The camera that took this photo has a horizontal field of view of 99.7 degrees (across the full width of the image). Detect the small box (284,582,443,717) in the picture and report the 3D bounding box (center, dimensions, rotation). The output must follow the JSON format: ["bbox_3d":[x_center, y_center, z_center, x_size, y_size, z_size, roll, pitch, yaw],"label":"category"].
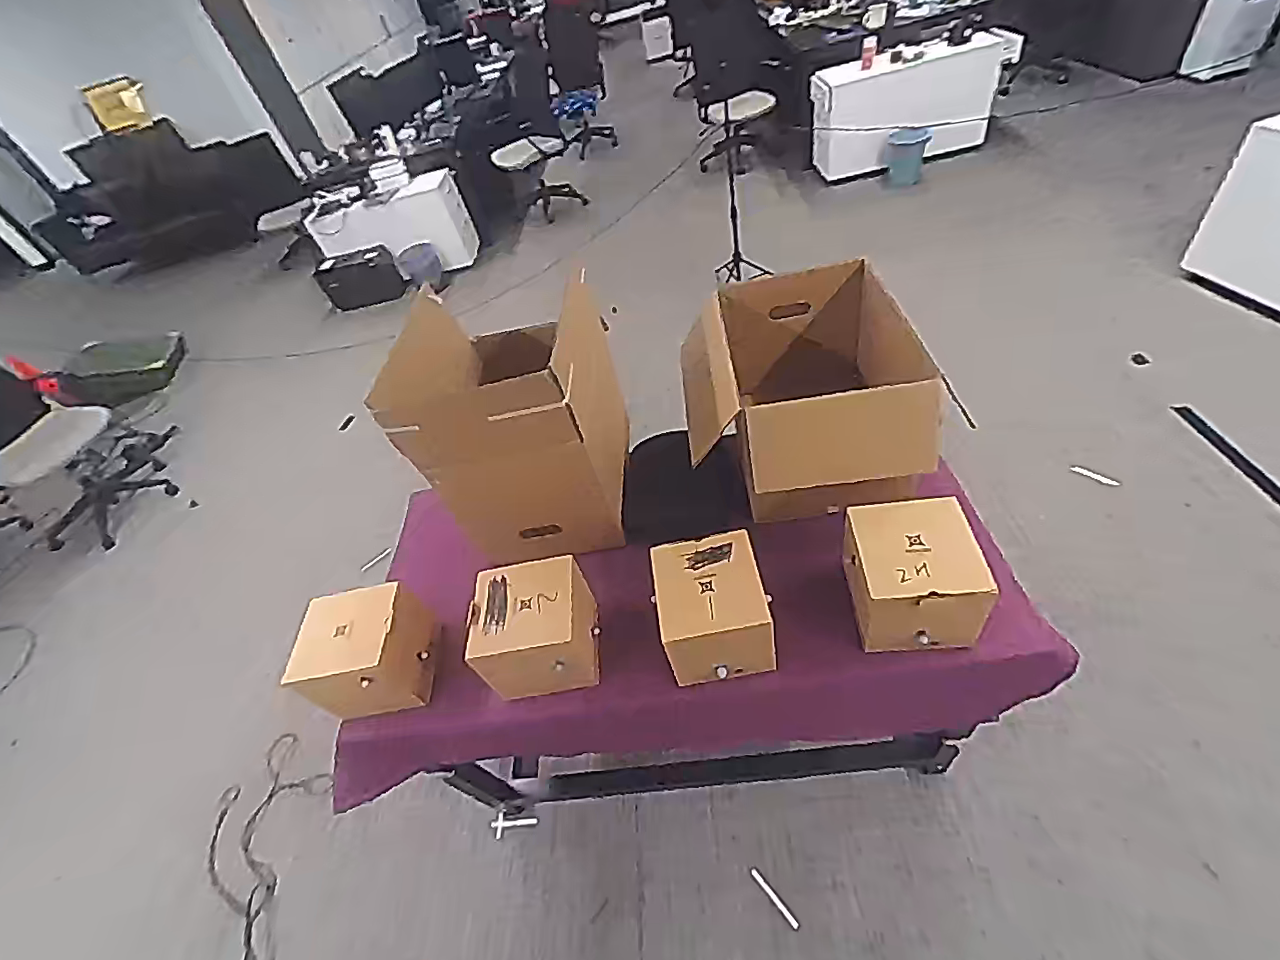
[{"bbox_3d":[-0.492,0.314,0.990,0.179,0.176,0.168,-12,46,4],"label":"small box"}]

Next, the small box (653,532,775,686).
[{"bbox_3d":[0.122,0.216,0.897,0.168,0.176,0.179,-12,47,7],"label":"small box"}]
